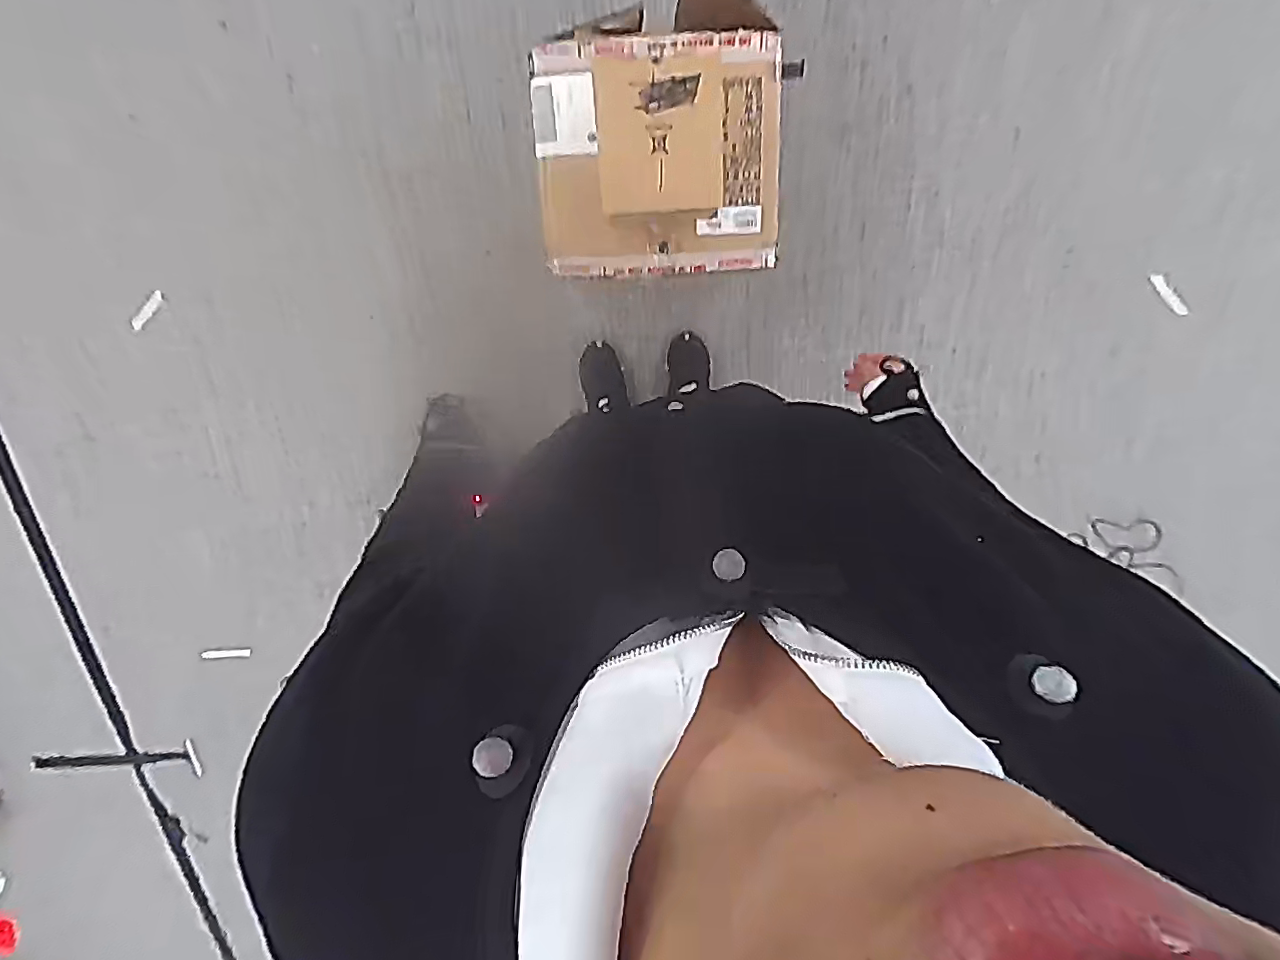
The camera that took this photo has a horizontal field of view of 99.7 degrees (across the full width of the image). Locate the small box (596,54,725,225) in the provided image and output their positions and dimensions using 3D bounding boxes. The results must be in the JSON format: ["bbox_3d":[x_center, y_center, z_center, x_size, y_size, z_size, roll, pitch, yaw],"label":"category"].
[{"bbox_3d":[0.027,-0.473,0.776,0.168,0.176,0.179,-3,111,1],"label":"small box"}]
